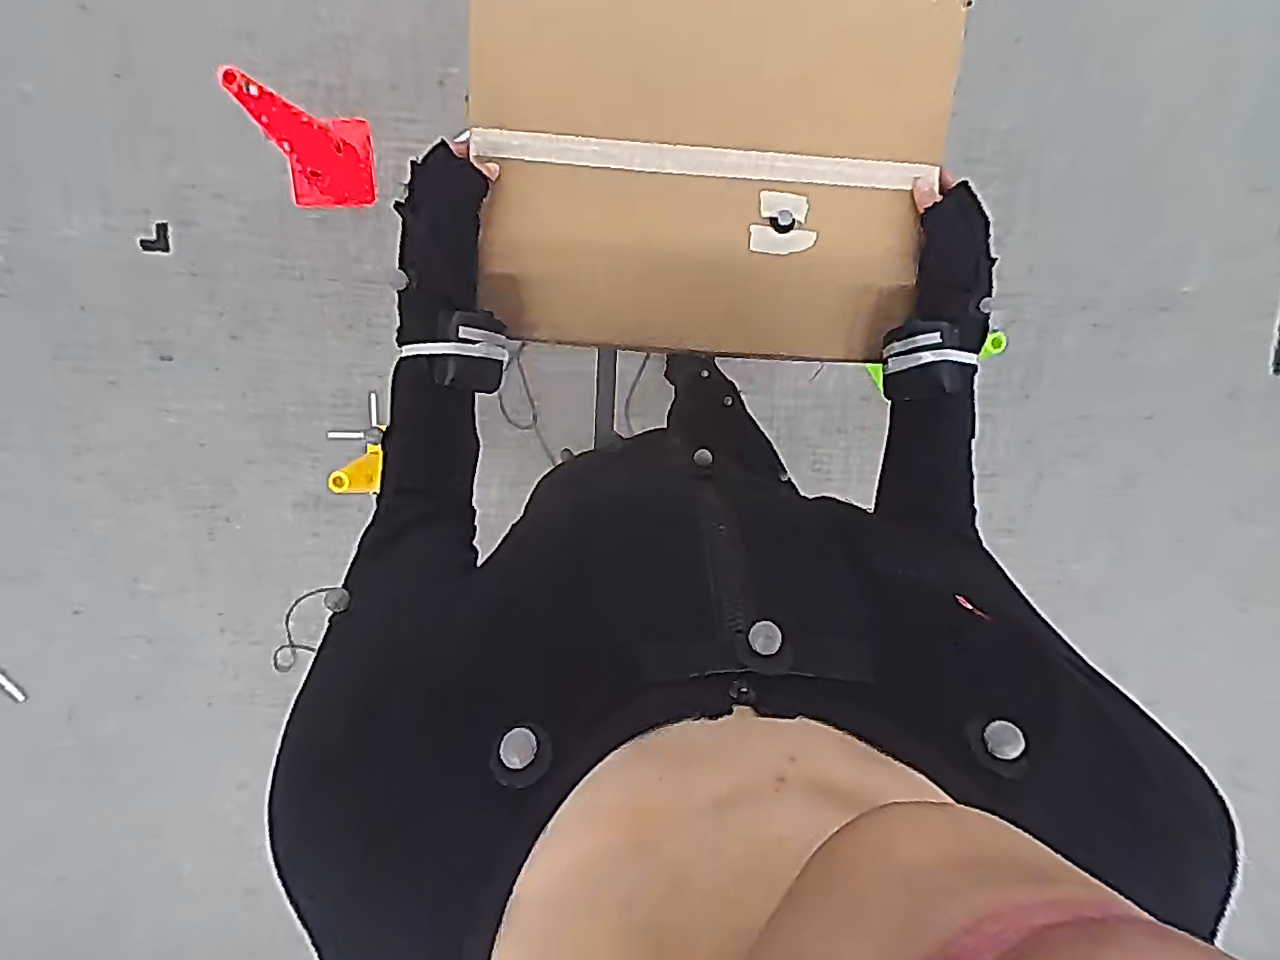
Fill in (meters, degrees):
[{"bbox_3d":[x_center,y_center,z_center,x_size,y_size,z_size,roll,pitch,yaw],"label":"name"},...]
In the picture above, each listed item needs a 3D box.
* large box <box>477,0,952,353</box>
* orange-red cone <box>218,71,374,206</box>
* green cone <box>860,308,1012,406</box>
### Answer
[{"bbox_3d":[0.050,-0.314,0.617,0.408,0.320,0.320,3,103,-4],"label":"large box"},{"bbox_3d":[-0.749,-0.747,1.151,0.198,0.360,0.199,-1,99,-1],"label":"orange-red cone"},{"bbox_3d":[0.719,-0.303,1.269,0.202,0.368,0.200,-36,99,1],"label":"green cone"}]
